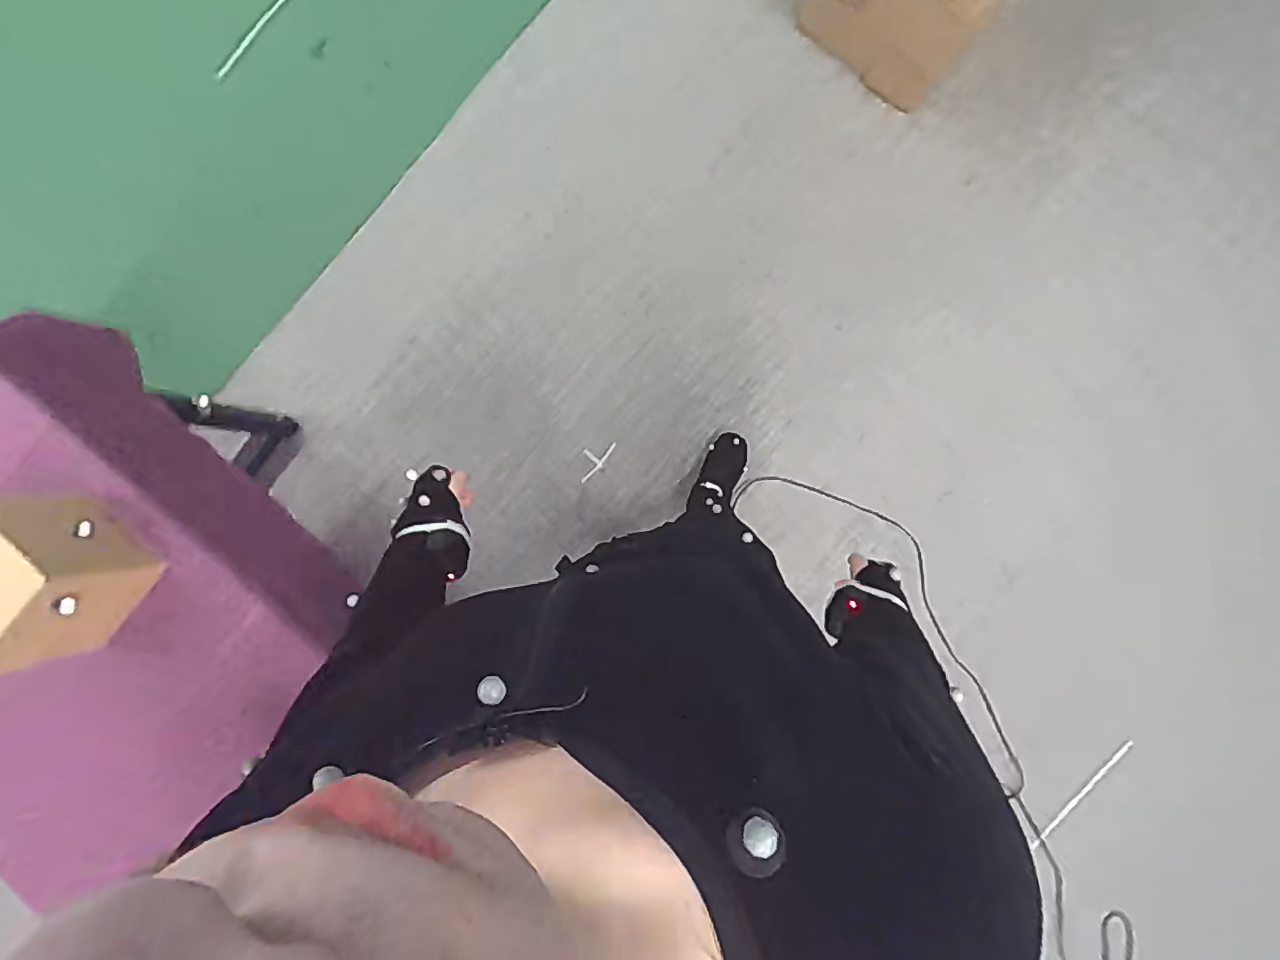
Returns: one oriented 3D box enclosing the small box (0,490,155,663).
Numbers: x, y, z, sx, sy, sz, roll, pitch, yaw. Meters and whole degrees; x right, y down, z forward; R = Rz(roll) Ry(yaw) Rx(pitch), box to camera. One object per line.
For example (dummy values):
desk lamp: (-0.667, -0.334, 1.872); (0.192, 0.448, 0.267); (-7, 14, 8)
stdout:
small box: (-0.847, 0.126, 0.758); (0.168, 0.176, 0.179); (41, 92, 4)

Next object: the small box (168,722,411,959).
small box: (-0.450, 0.467, 0.725); (0.179, 0.176, 0.168); (40, 92, 4)
